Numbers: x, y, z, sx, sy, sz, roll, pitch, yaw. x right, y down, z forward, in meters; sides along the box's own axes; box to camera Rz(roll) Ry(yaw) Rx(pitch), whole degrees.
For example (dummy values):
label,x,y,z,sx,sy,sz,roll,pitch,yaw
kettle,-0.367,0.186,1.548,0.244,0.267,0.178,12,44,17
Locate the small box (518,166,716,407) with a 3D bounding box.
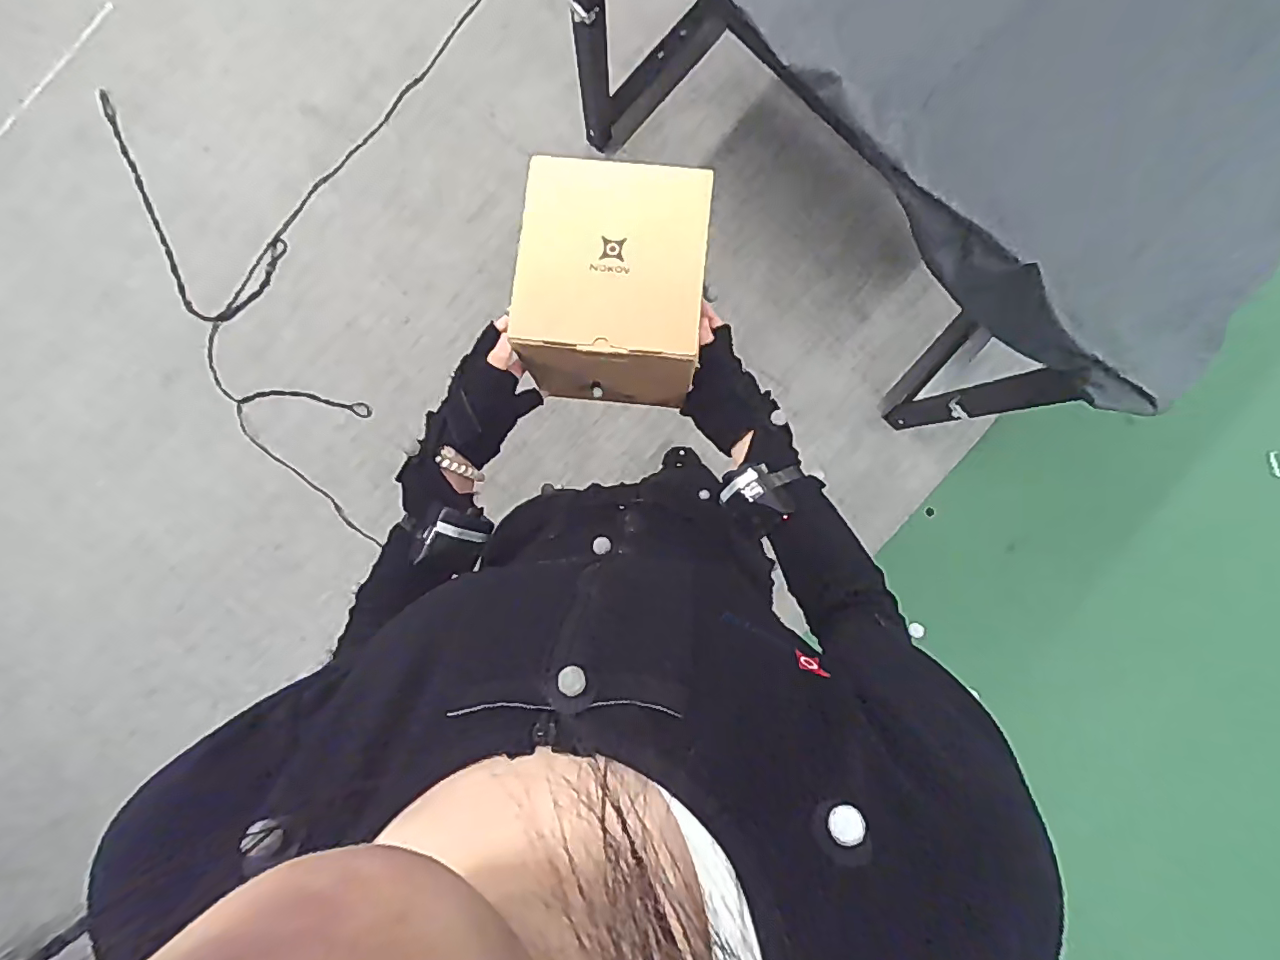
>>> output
label,x,y,z,sx,sy,sz,roll,pitch,yaw
small box,-0.020,-0.187,0.568,0.168,0.176,0.179,5,84,1
